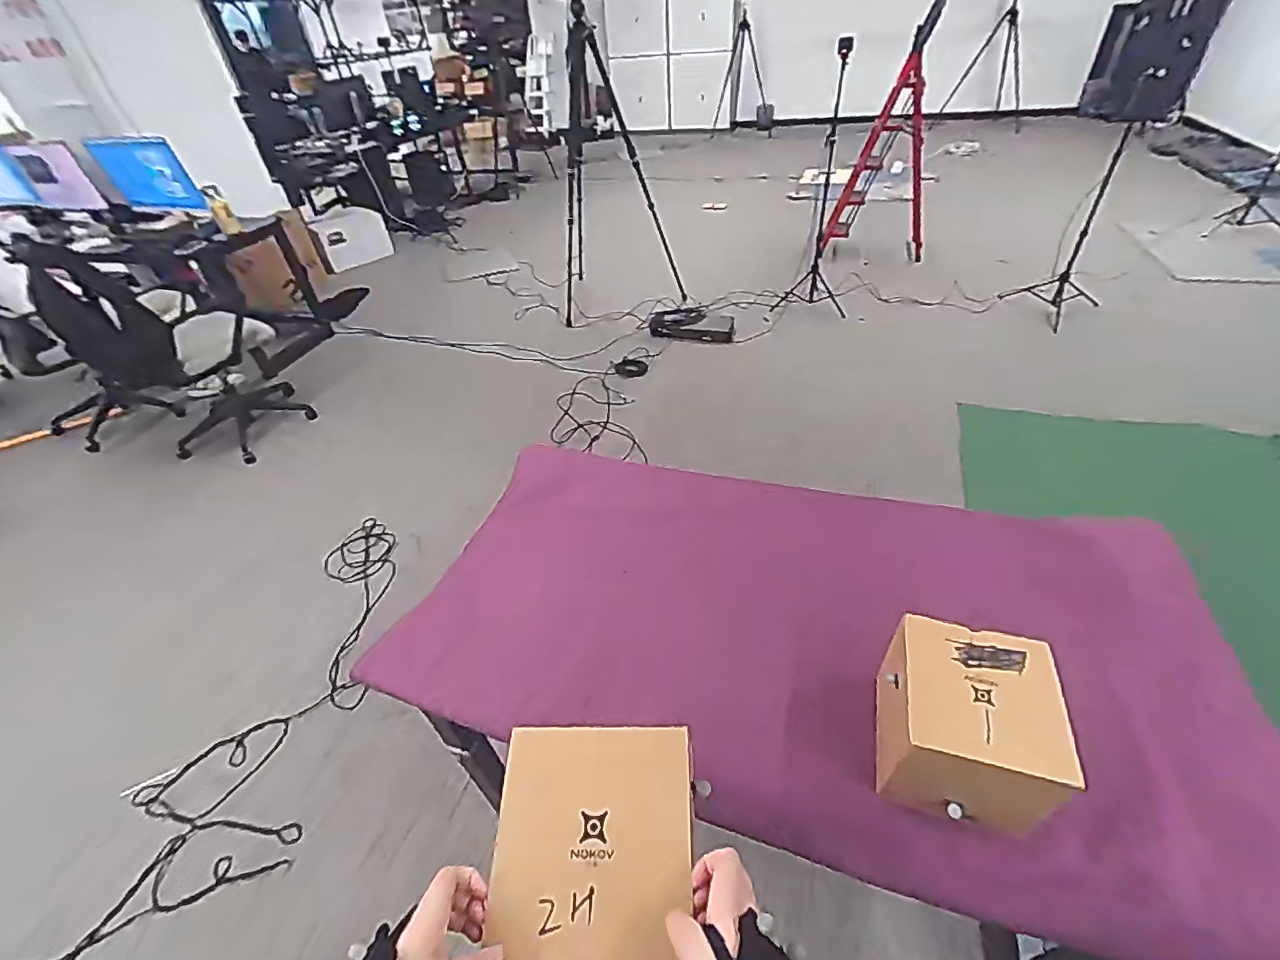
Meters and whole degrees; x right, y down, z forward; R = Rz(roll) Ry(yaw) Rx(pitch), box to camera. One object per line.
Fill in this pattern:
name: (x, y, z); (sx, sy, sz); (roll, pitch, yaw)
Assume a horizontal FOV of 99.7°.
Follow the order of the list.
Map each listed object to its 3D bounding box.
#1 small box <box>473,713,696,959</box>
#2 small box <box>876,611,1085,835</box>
small box: (-0.034, 0.332, 0.509); (0.168, 0.176, 0.179); (-2, 54, 6)
small box: (0.396, 0.296, 0.668); (0.168, 0.176, 0.179); (9, 43, 17)
